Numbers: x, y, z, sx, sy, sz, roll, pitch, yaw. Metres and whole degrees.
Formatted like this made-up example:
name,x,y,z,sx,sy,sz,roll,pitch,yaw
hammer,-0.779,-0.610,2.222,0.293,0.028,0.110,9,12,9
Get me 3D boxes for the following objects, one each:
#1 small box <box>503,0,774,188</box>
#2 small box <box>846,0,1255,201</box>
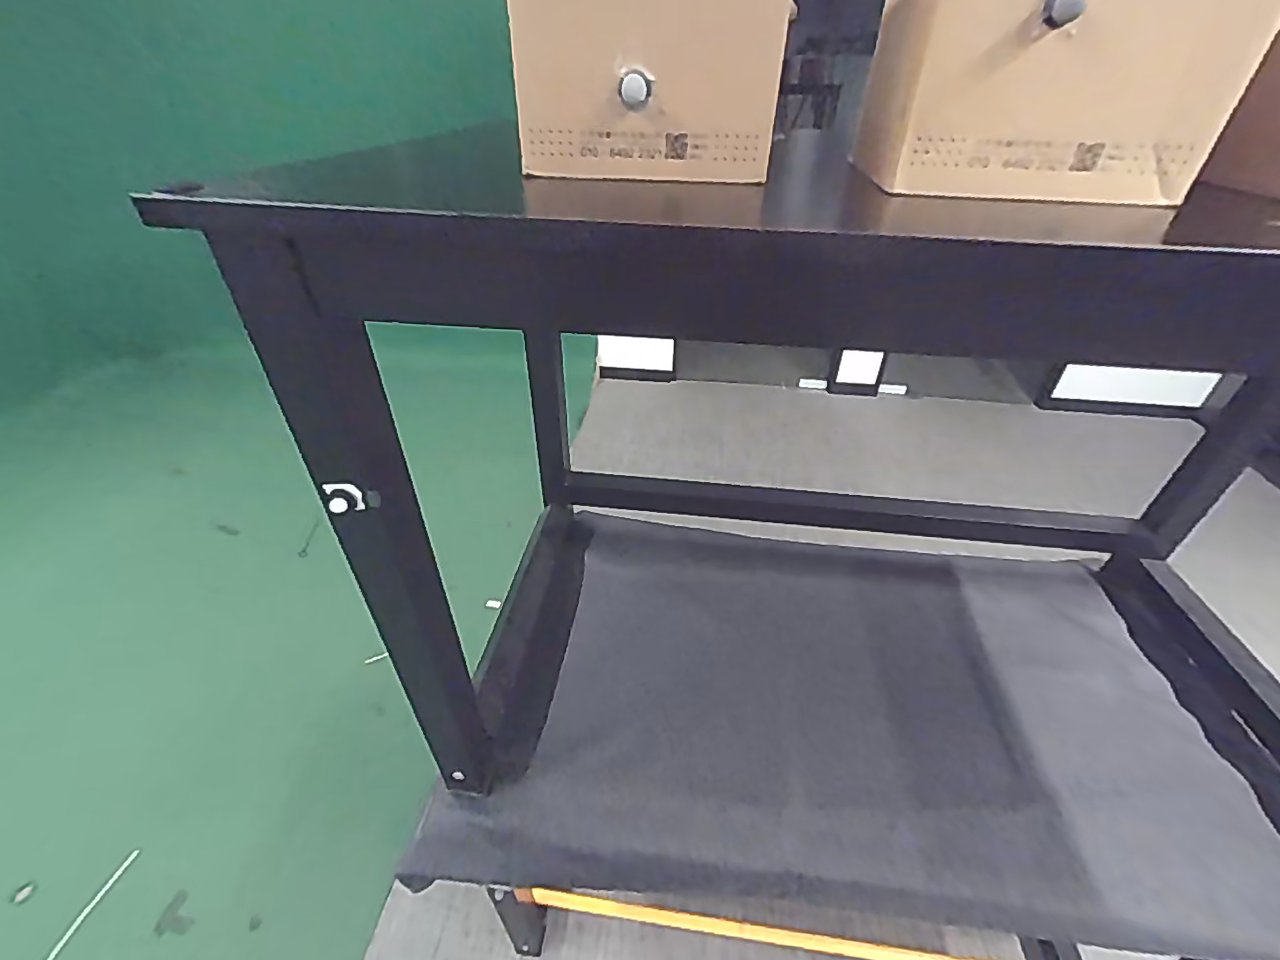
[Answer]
name,x,y,z,sx,sy,sz,roll,pitch,yaw
small box,0.001,-0.319,0.385,0.168,0.176,0.179,3,37,3
small box,0.241,-0.284,0.344,0.168,0.176,0.179,6,37,7
